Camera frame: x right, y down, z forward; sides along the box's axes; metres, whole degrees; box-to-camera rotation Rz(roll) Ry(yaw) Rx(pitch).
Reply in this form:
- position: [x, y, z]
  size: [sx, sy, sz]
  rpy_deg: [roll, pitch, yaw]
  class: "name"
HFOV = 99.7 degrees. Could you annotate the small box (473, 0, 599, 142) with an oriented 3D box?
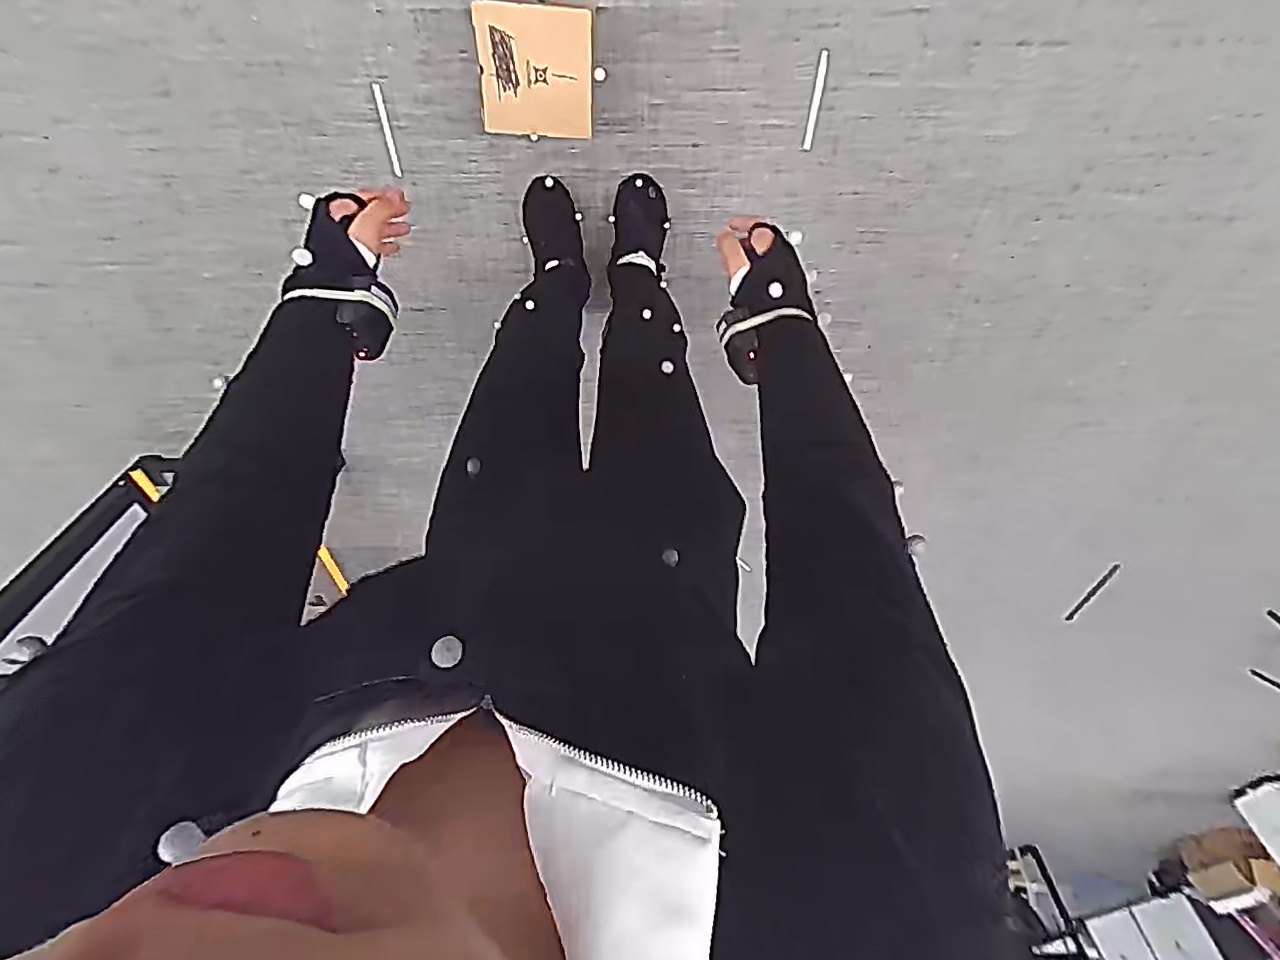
- position: [-0.160, -0.674, 0.888]
  size: [0.179, 0.176, 0.168]
  rpy_deg: [2, 133, -4]
  class: "small box"
